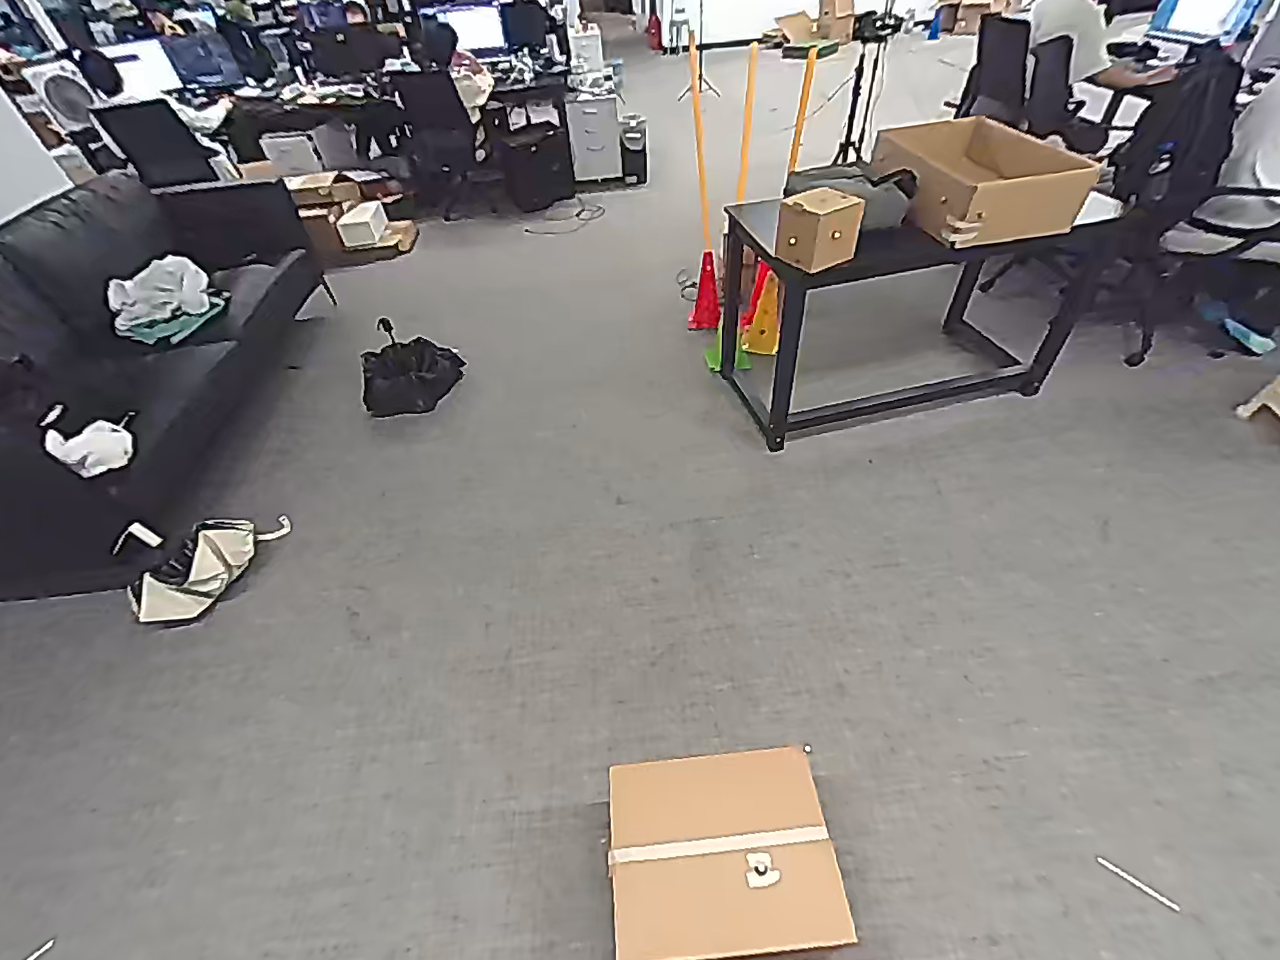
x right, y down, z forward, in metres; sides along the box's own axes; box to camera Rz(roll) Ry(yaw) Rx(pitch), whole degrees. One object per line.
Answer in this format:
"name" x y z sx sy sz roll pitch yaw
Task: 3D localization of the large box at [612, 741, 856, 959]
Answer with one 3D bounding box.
"large box" 0.164 0.773 1.109 0.408 0.320 0.320 -7 46 0
